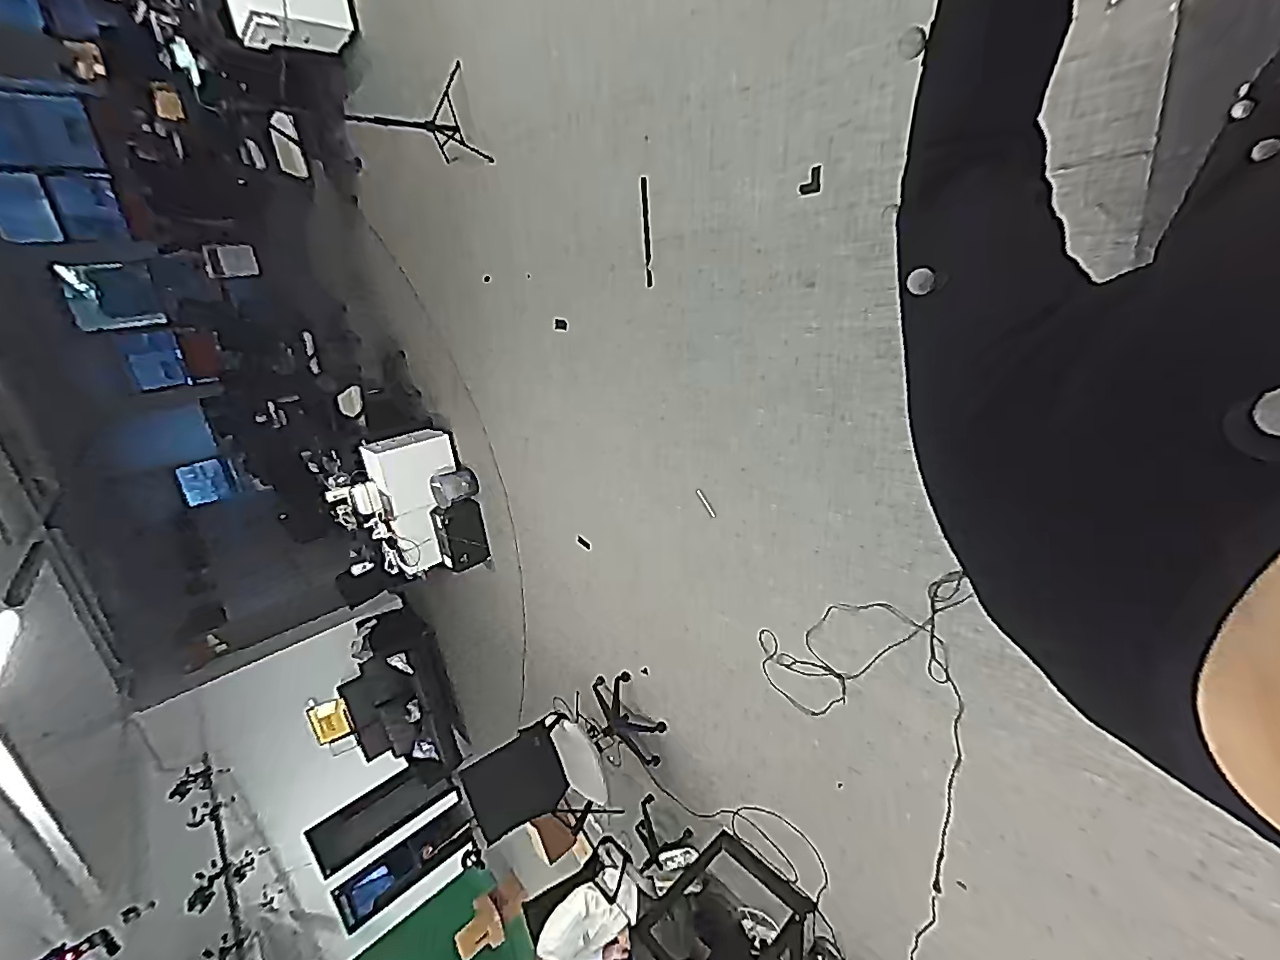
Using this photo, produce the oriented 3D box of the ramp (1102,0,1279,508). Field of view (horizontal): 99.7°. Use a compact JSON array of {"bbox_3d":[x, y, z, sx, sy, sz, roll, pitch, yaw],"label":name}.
[{"bbox_3d":[1.174,-0.379,0.920,0.509,0.206,0.991,14,119,46],"label":"ramp"}]
